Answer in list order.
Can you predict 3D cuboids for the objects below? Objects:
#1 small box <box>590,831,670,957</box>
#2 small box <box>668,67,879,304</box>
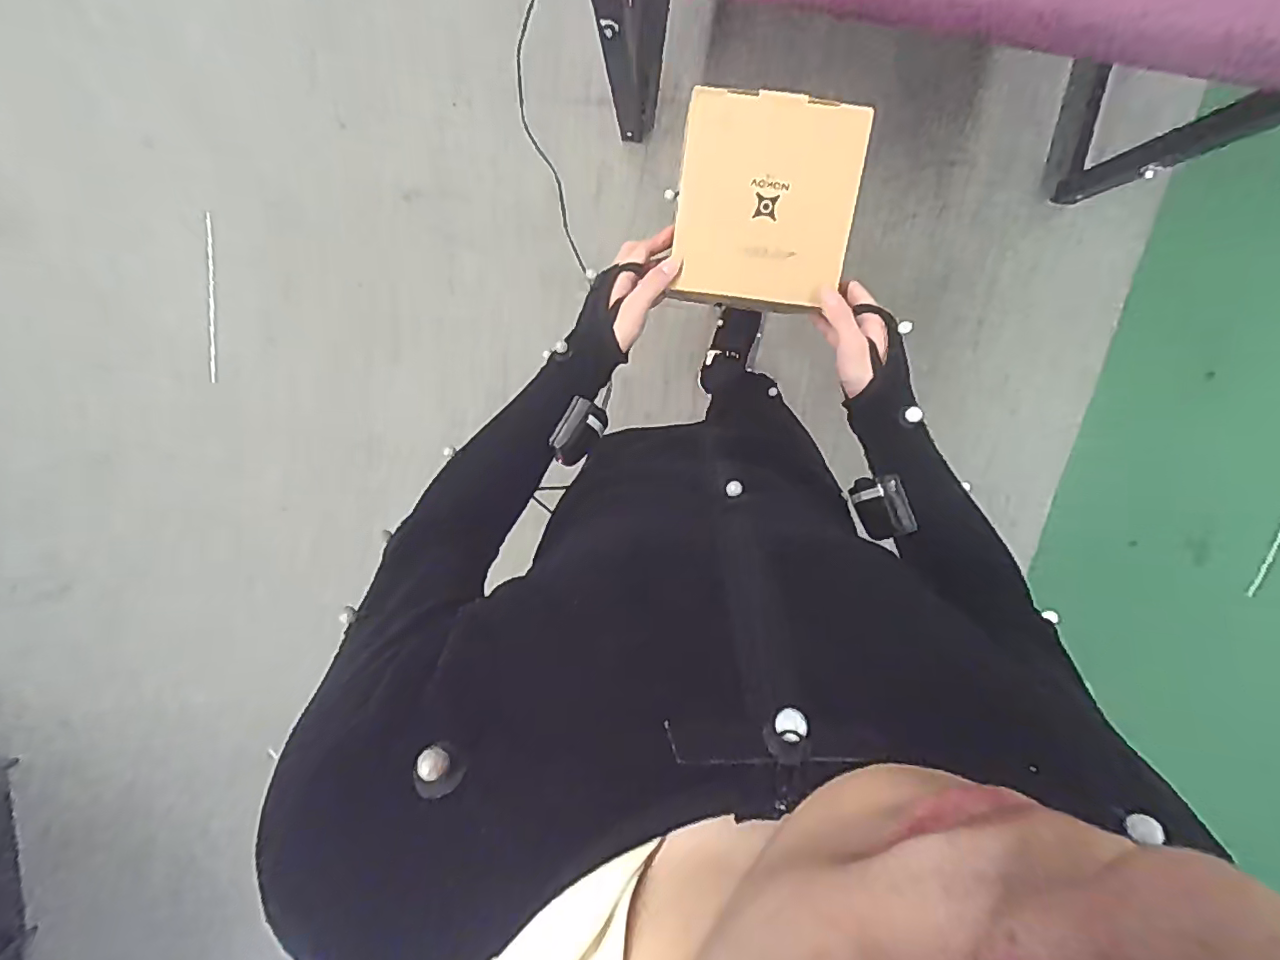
[{"bbox_3d":[-0.023,1.015,1.338,0.168,0.176,0.179,10,105,0],"label":"small box"},{"bbox_3d":[0.122,-0.292,0.575,0.168,0.176,0.179,8,106,-1],"label":"small box"}]
